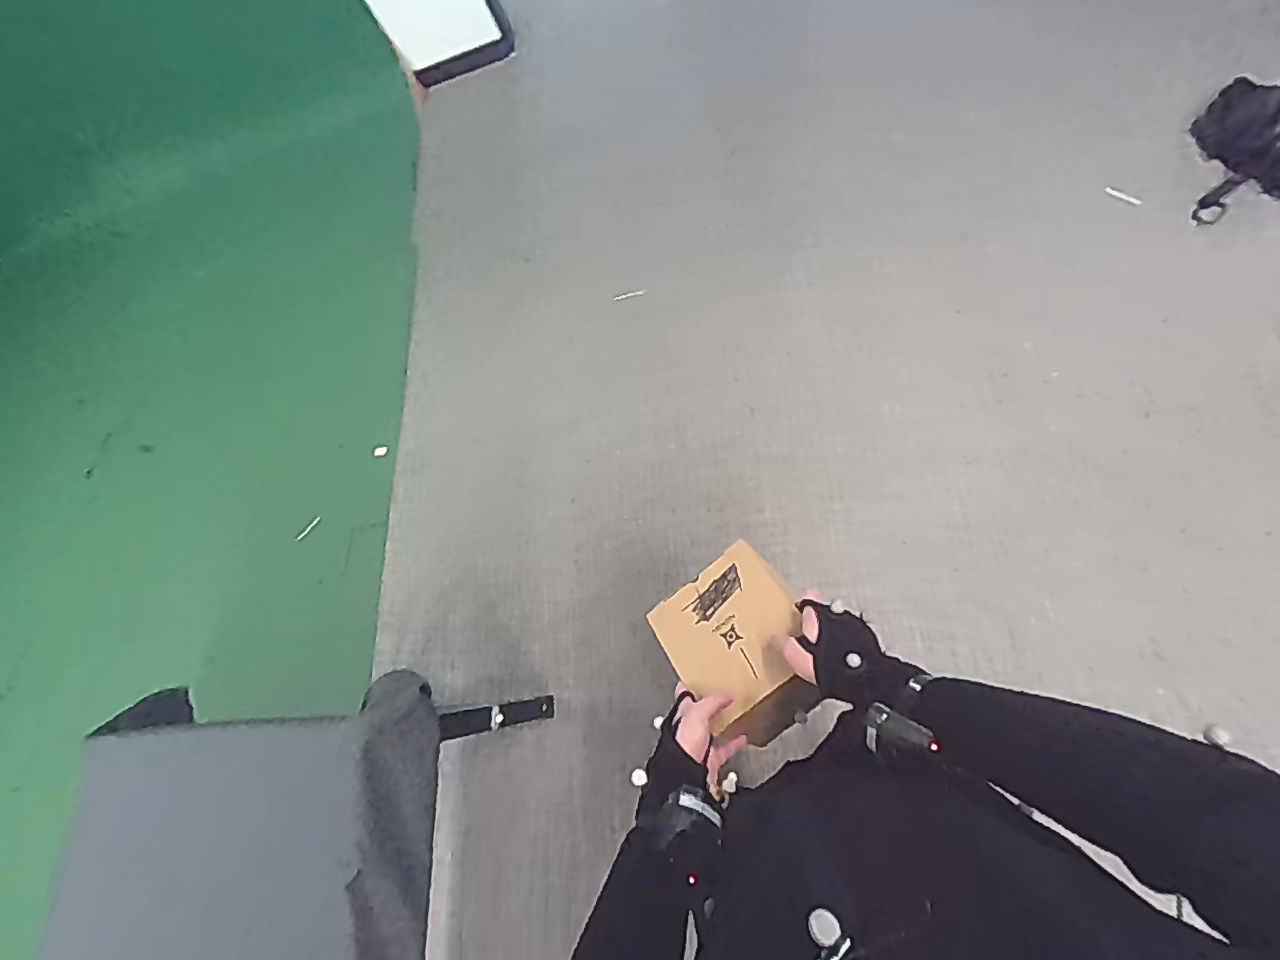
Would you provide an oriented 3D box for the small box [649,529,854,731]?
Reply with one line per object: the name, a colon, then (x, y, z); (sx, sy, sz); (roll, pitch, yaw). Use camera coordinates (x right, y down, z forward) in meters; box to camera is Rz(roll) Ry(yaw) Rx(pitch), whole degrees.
small box: (0.146, 0.201, 0.706); (0.168, 0.176, 0.179); (-41, 49, 9)
